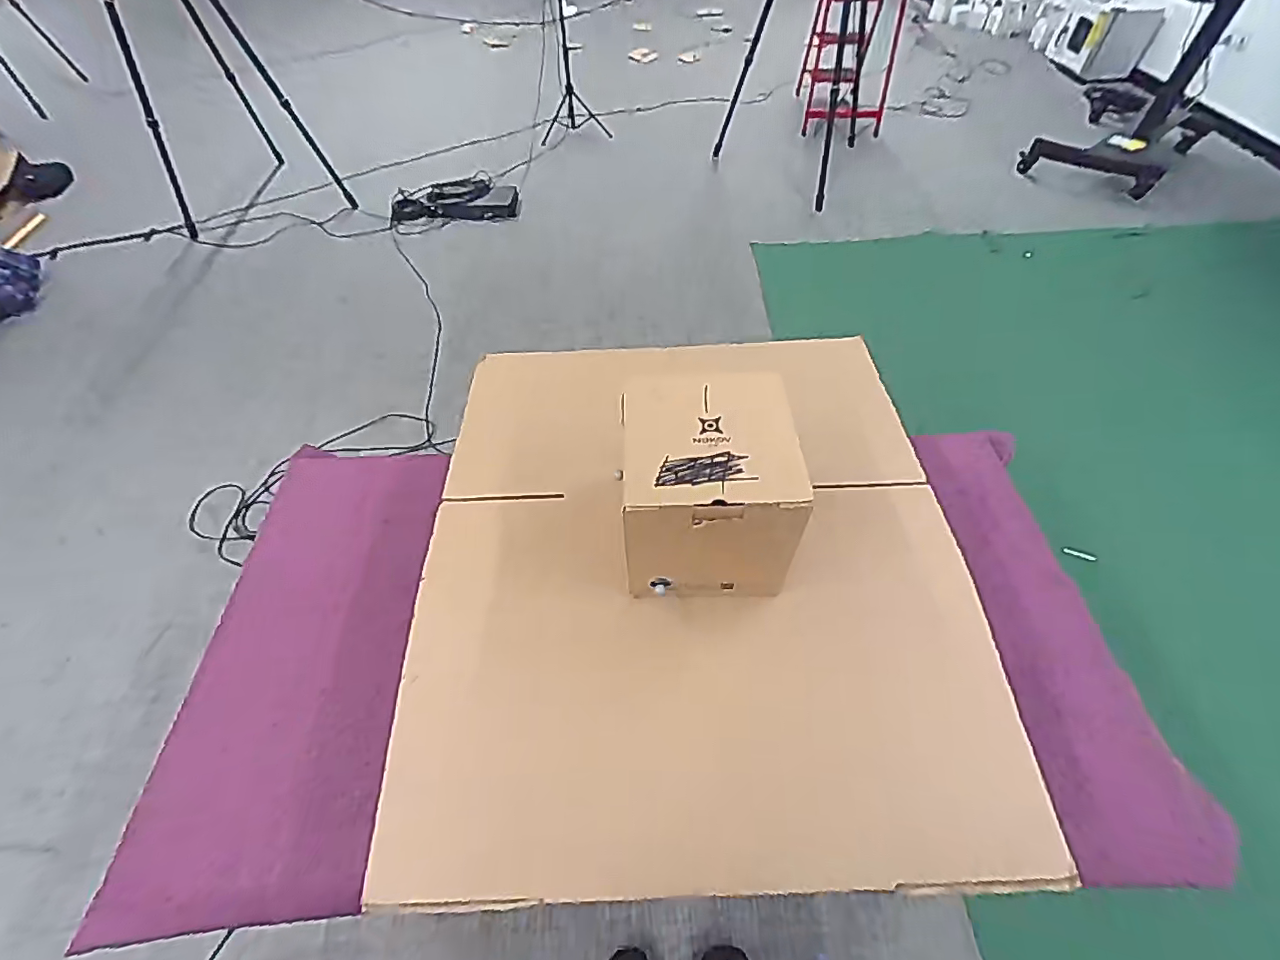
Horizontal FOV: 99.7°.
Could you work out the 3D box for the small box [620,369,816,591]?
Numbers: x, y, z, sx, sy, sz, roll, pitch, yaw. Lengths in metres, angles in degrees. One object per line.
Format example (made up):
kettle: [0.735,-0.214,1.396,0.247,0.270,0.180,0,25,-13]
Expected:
small box: [0.068,0.008,0.572,0.168,0.176,0.179,-4,53,-2]
